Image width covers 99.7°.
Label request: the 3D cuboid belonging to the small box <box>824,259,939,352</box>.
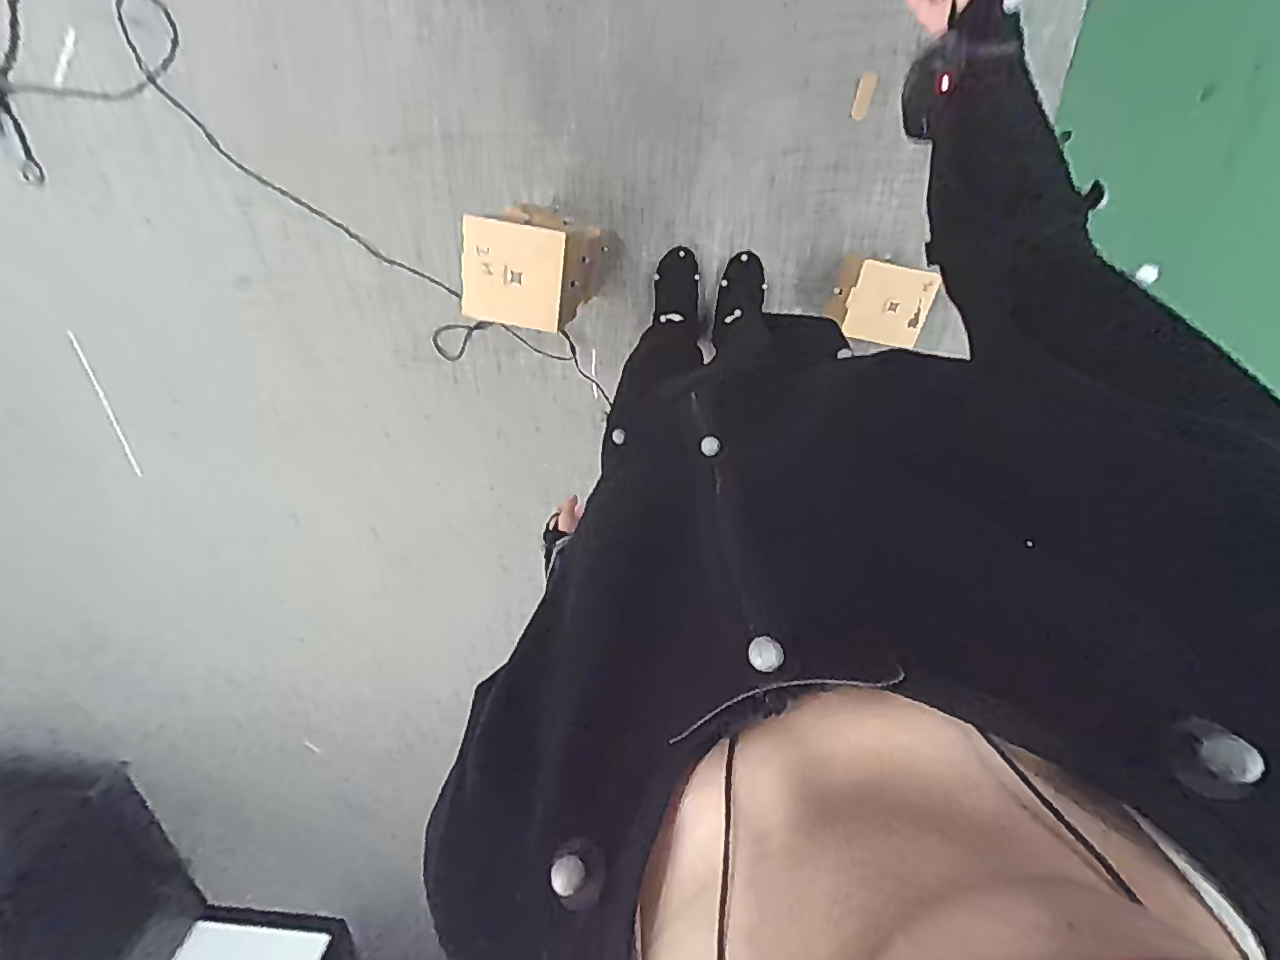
[{"bbox_3d":[0.548,-0.413,1.261,0.179,0.176,0.168,12,117,0],"label":"small box"}]

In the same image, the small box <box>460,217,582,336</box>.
[{"bbox_3d":[-0.210,-0.375,0.984,0.179,0.176,0.168,11,116,1],"label":"small box"}]

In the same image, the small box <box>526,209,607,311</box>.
[{"bbox_3d":[-0.182,-0.521,1.274,0.168,0.176,0.179,18,117,-3],"label":"small box"}]
